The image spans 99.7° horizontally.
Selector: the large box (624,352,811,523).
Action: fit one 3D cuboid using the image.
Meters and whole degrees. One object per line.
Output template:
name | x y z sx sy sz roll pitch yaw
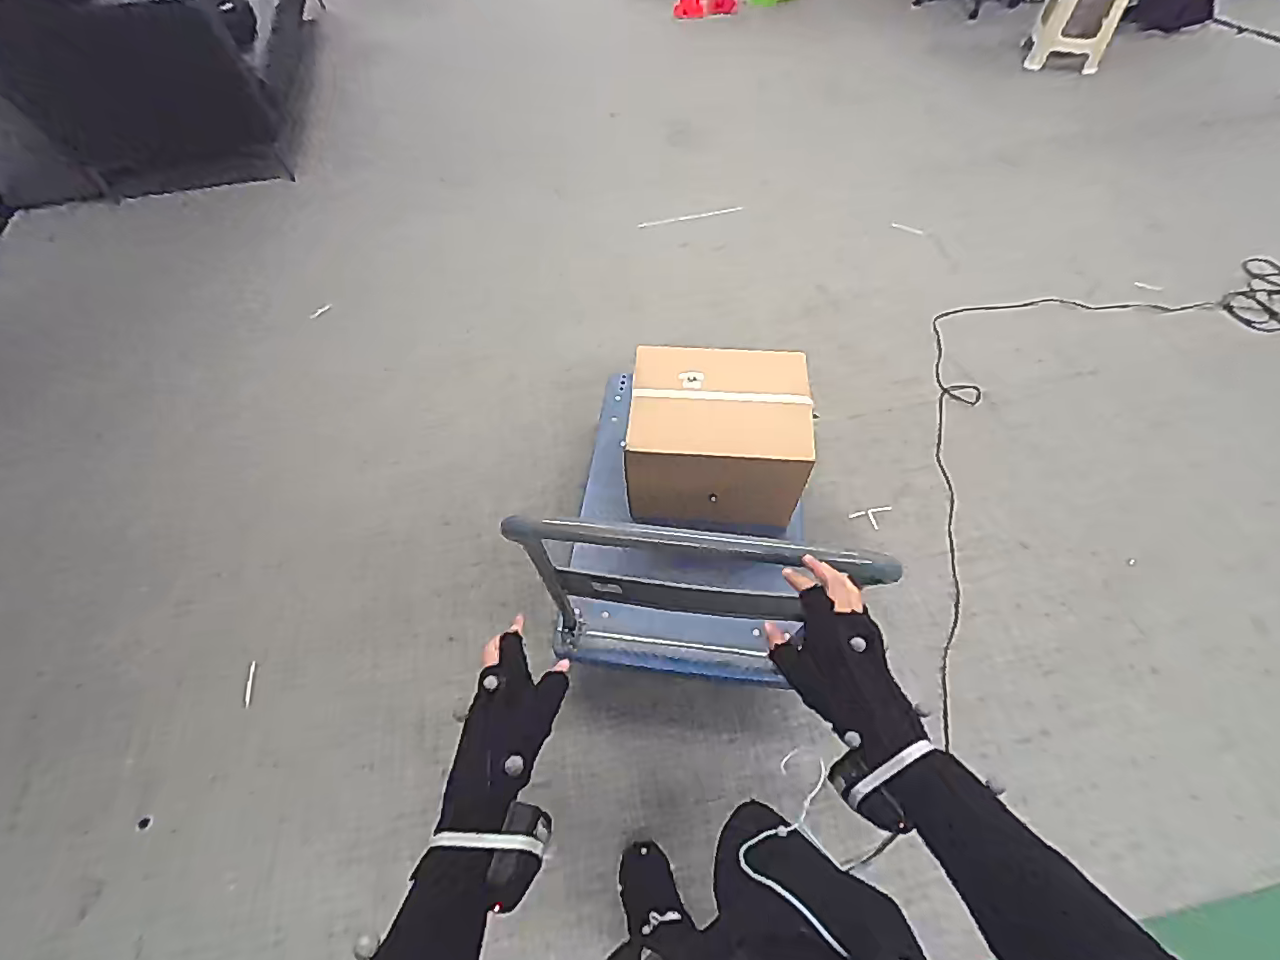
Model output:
large box | 0.183 -0.100 1.350 0.408 0.320 0.320 3 58 6
